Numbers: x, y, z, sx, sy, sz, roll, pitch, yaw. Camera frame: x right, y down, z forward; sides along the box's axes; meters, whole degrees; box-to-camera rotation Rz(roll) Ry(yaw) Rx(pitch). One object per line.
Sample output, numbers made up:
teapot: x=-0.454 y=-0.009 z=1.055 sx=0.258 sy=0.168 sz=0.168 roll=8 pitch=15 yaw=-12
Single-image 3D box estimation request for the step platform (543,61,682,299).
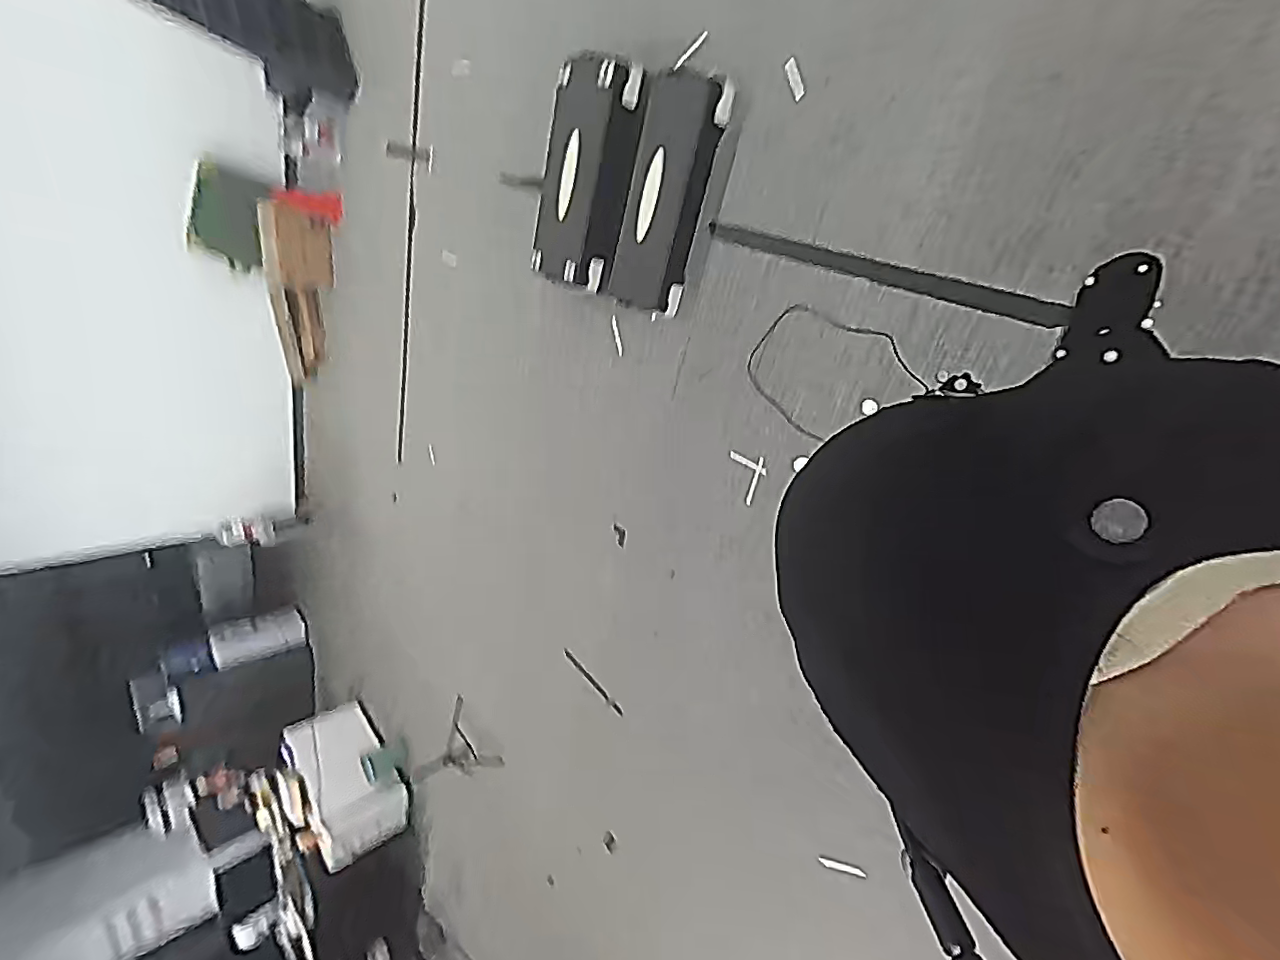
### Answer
step platform: x=-0.113 y=-0.981 z=1.820 sx=0.286 sy=0.204 sz=0.684 roll=39 pitch=121 yaw=34
